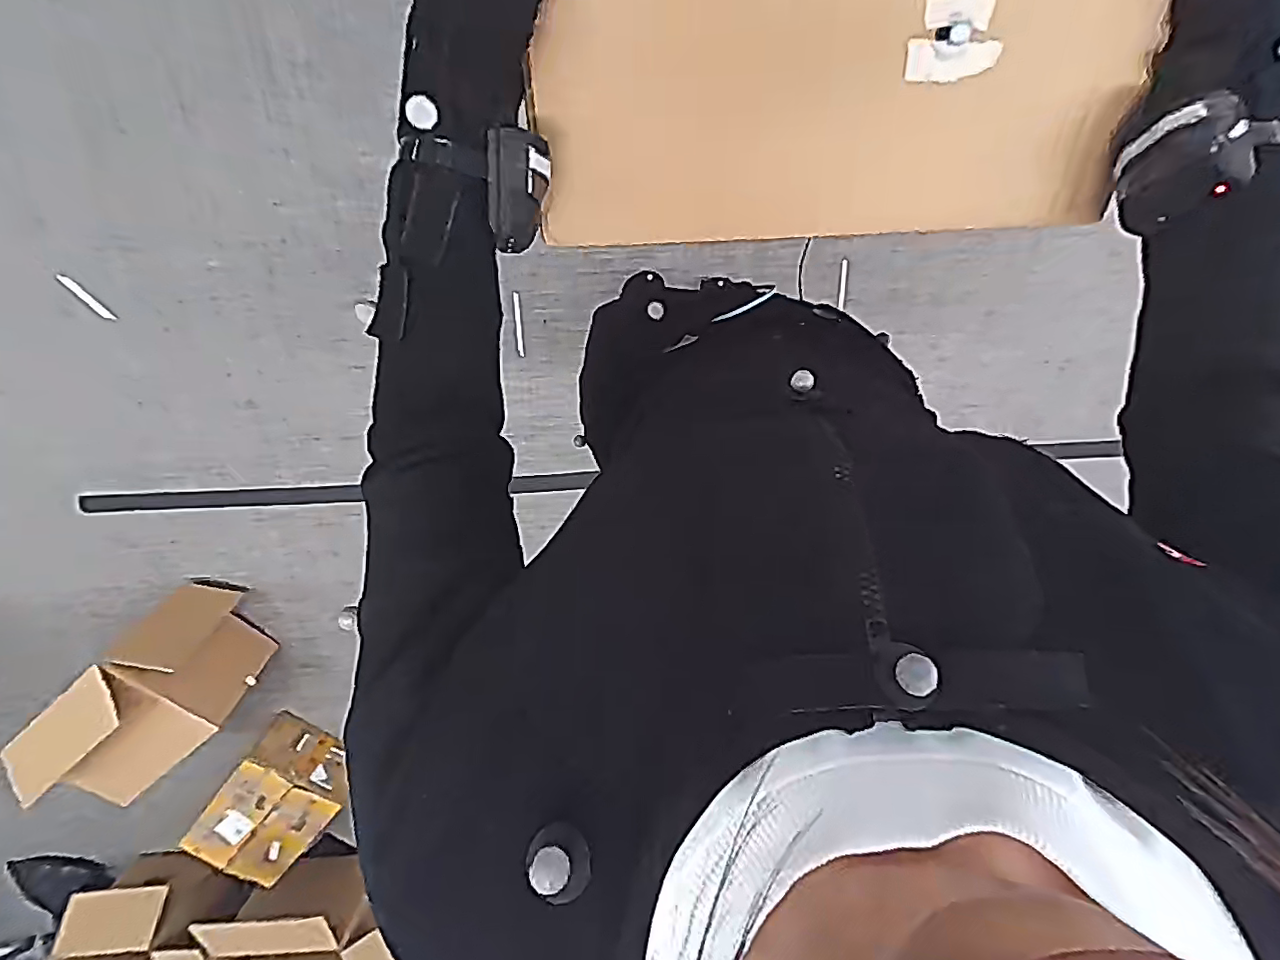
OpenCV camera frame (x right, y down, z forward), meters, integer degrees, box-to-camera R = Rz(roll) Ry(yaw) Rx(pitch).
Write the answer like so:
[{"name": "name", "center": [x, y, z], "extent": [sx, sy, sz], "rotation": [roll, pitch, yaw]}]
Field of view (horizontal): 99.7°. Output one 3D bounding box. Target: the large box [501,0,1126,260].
[{"name": "large box", "center": [0.104, -0.388, 0.463], "extent": [0.408, 0.320, 0.320], "rotation": [-4, 121, 0]}]
